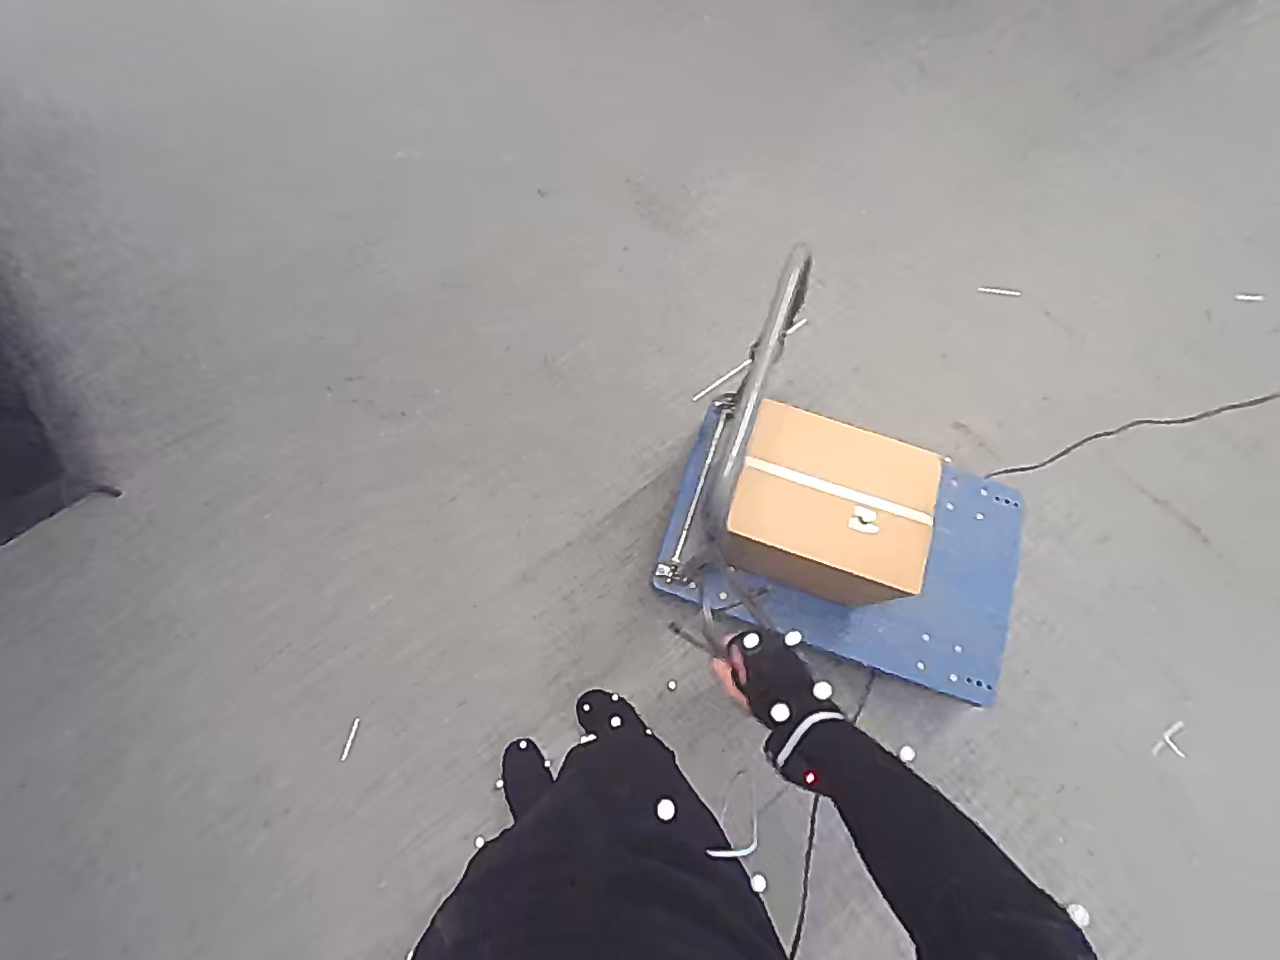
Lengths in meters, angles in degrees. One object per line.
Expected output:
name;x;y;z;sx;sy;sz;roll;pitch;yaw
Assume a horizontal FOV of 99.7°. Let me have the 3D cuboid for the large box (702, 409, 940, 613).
large box;0.392;0.087;1.246;0.408;0.320;0.320;19;73;4
